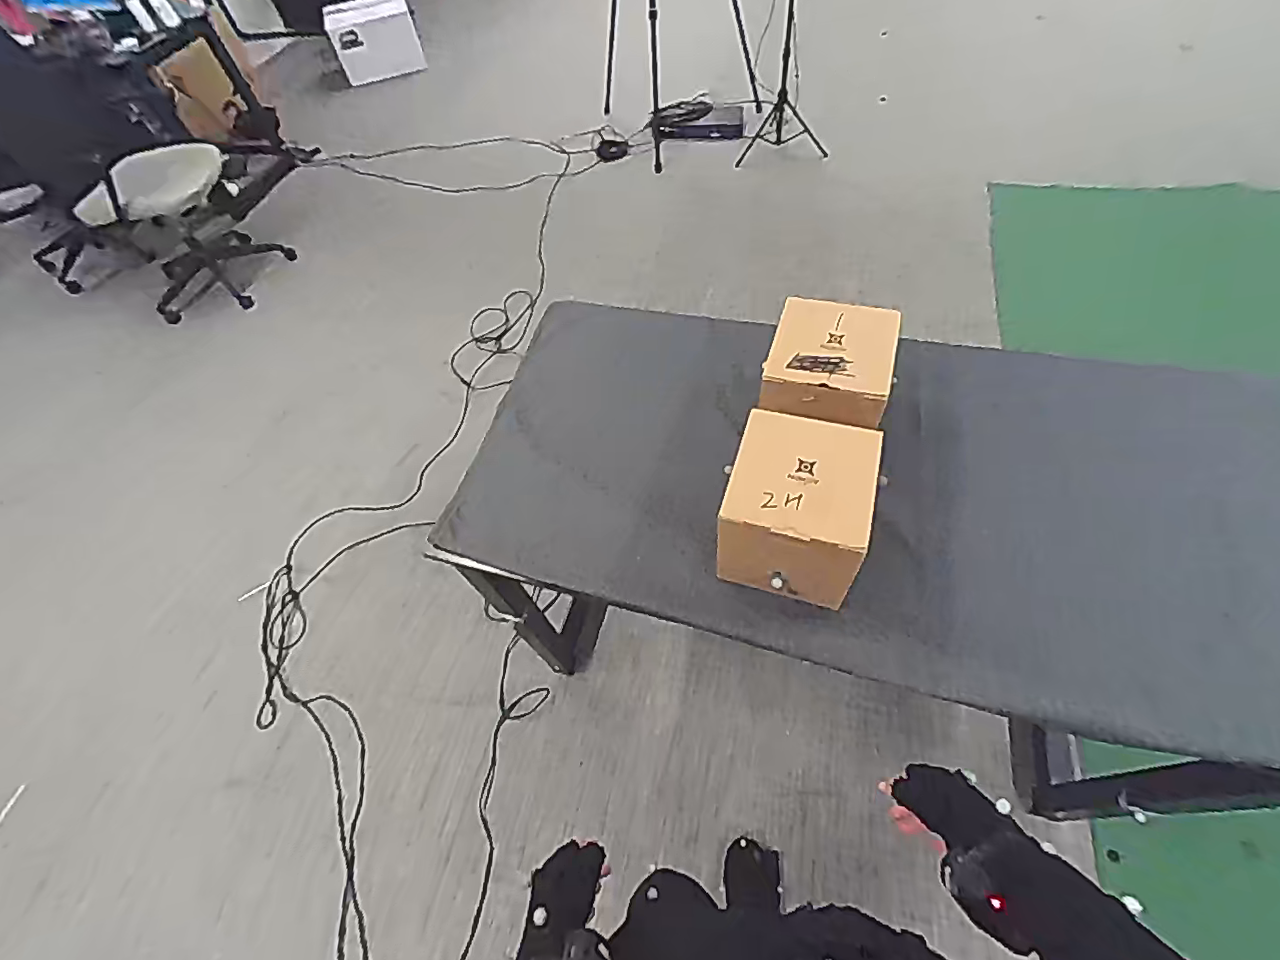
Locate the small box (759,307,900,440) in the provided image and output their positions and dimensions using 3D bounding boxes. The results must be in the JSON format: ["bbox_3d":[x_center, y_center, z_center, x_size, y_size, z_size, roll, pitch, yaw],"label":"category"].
[{"bbox_3d":[0.280,-0.133,0.825,0.168,0.176,0.179,13,59,16],"label":"small box"}]

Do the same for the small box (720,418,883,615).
[{"bbox_3d":[0.203,0.049,0.709,0.168,0.176,0.179,13,58,16],"label":"small box"}]
